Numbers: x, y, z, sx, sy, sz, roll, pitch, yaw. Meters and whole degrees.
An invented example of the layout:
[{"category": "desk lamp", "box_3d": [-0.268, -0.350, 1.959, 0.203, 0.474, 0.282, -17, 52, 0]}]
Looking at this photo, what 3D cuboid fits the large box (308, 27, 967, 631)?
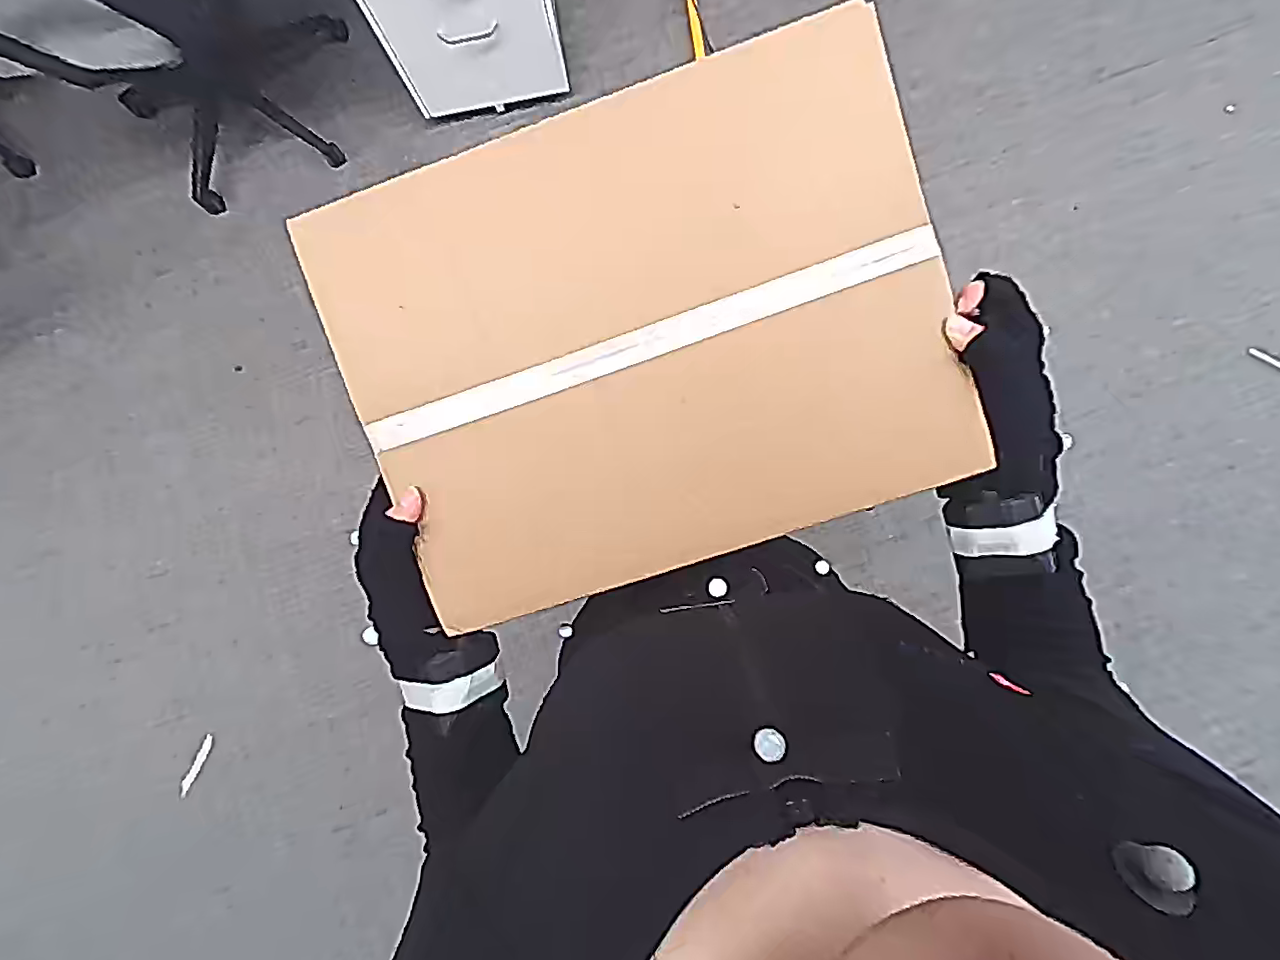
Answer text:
[{"category": "large box", "box_3d": [0.006, -0.108, 0.528, 0.408, 0.320, 0.320, -18, 95, 5]}]
